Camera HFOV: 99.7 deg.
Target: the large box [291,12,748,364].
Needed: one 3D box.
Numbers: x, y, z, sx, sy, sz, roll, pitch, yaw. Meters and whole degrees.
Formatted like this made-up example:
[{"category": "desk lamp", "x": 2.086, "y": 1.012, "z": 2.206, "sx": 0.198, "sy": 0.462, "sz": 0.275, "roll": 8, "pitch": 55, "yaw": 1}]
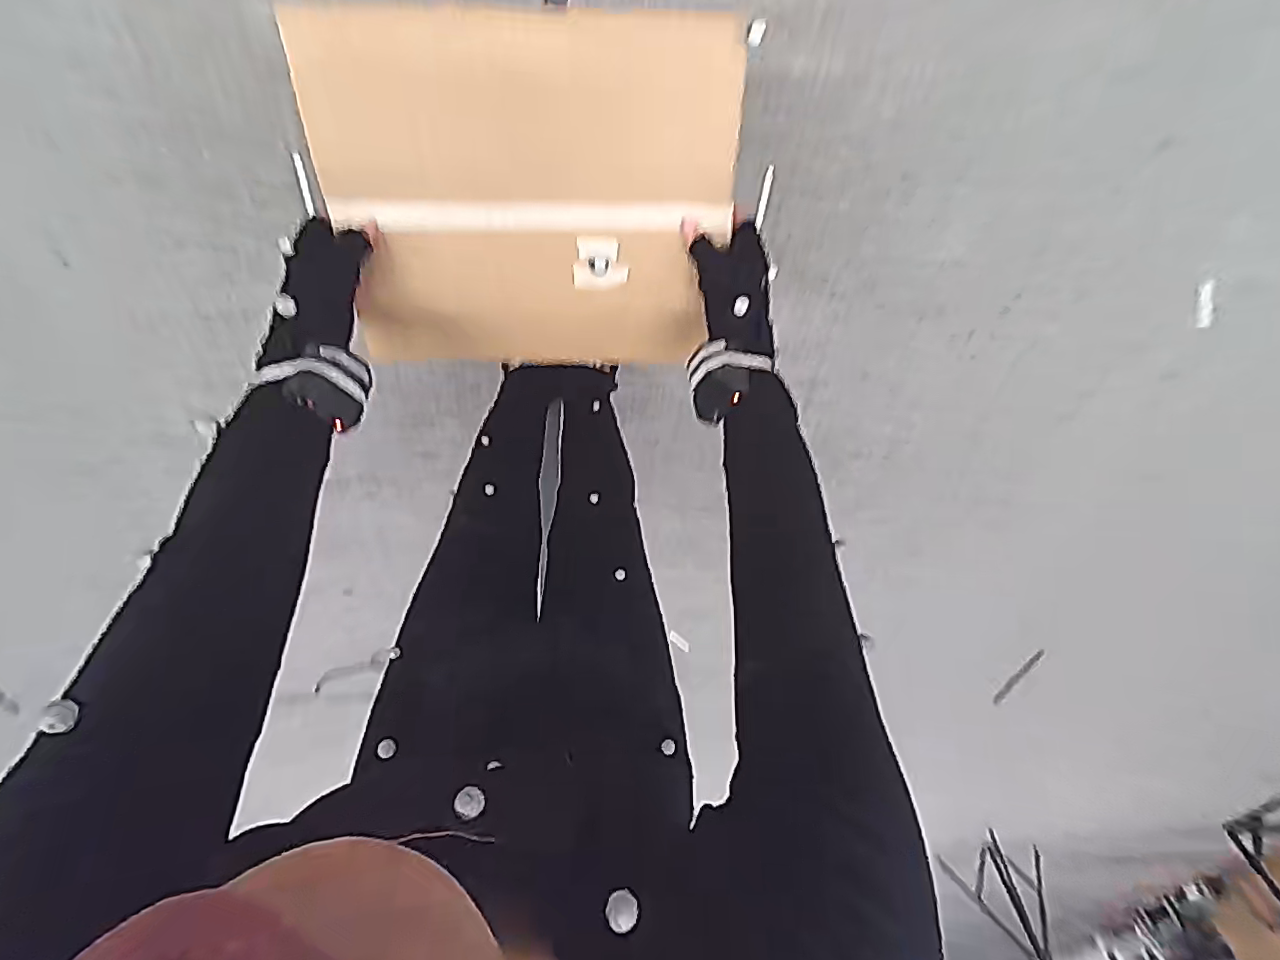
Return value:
[{"category": "large box", "x": -0.109, "y": -0.348, "z": 0.671, "sx": 0.408, "sy": 0.320, "sz": 0.320, "roll": -1, "pitch": 124, "yaw": -2}]
